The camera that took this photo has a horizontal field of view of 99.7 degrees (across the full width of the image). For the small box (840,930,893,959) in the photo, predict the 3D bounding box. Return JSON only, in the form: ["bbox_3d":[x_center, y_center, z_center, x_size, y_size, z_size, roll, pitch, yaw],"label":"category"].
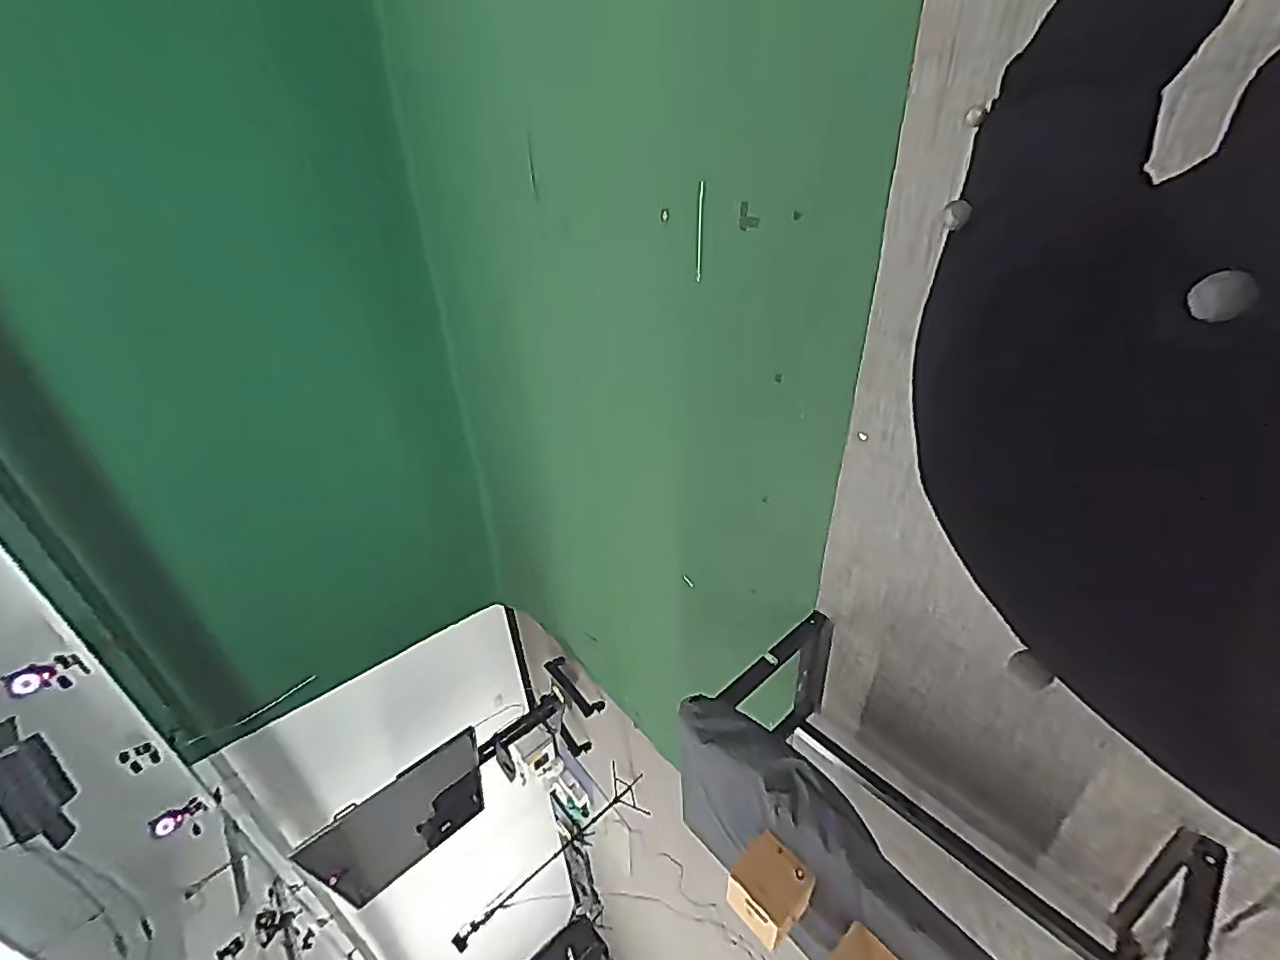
[{"bbox_3d":[0.554,1.246,1.292,0.179,0.176,0.168,27,132,42],"label":"small box"}]

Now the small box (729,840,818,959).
[{"bbox_3d":[0.366,1.143,1.481,0.168,0.176,0.179,29,134,41],"label":"small box"}]
